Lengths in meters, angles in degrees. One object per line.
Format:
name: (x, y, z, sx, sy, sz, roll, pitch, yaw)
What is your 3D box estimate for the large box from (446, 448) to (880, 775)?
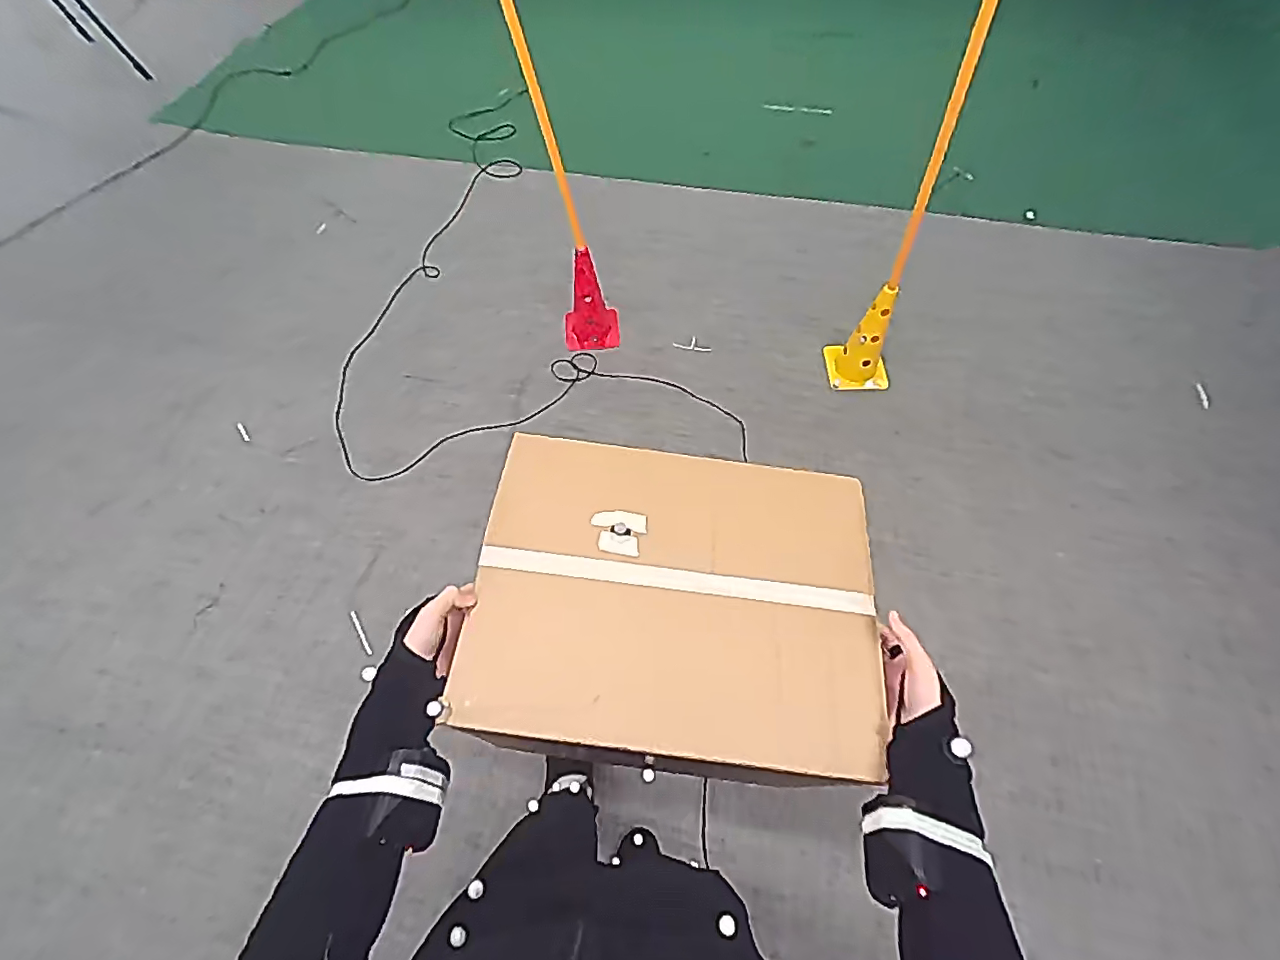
large box: (0.028, 0.186, 0.691, 0.408, 0.320, 0.320, 6, 59, 1)
